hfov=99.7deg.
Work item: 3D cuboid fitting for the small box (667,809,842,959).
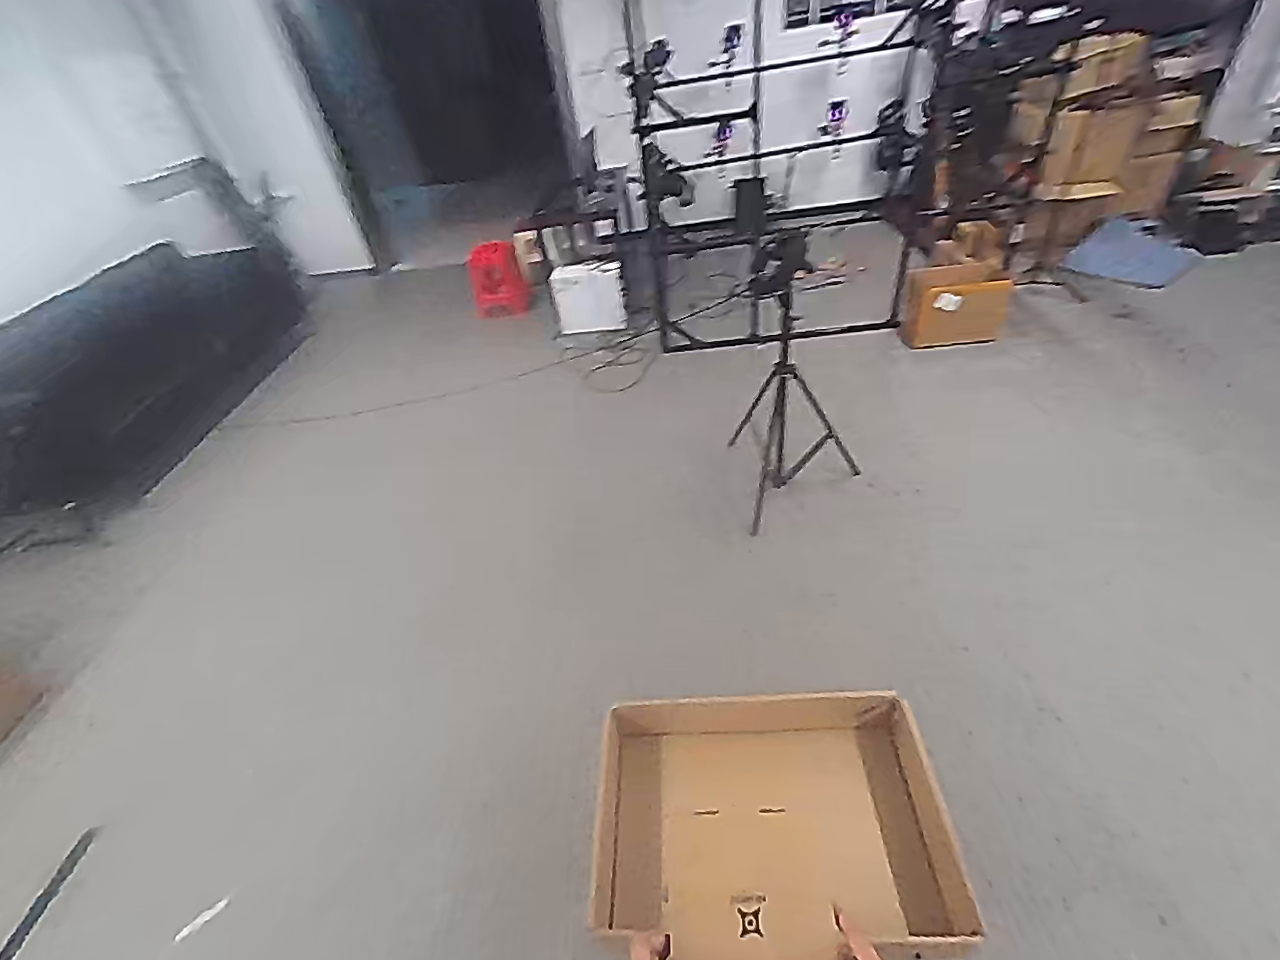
[{"bbox_3d":[0.117,0.481,0.600,0.168,0.176,0.179,-4,51,4],"label":"small box"}]
